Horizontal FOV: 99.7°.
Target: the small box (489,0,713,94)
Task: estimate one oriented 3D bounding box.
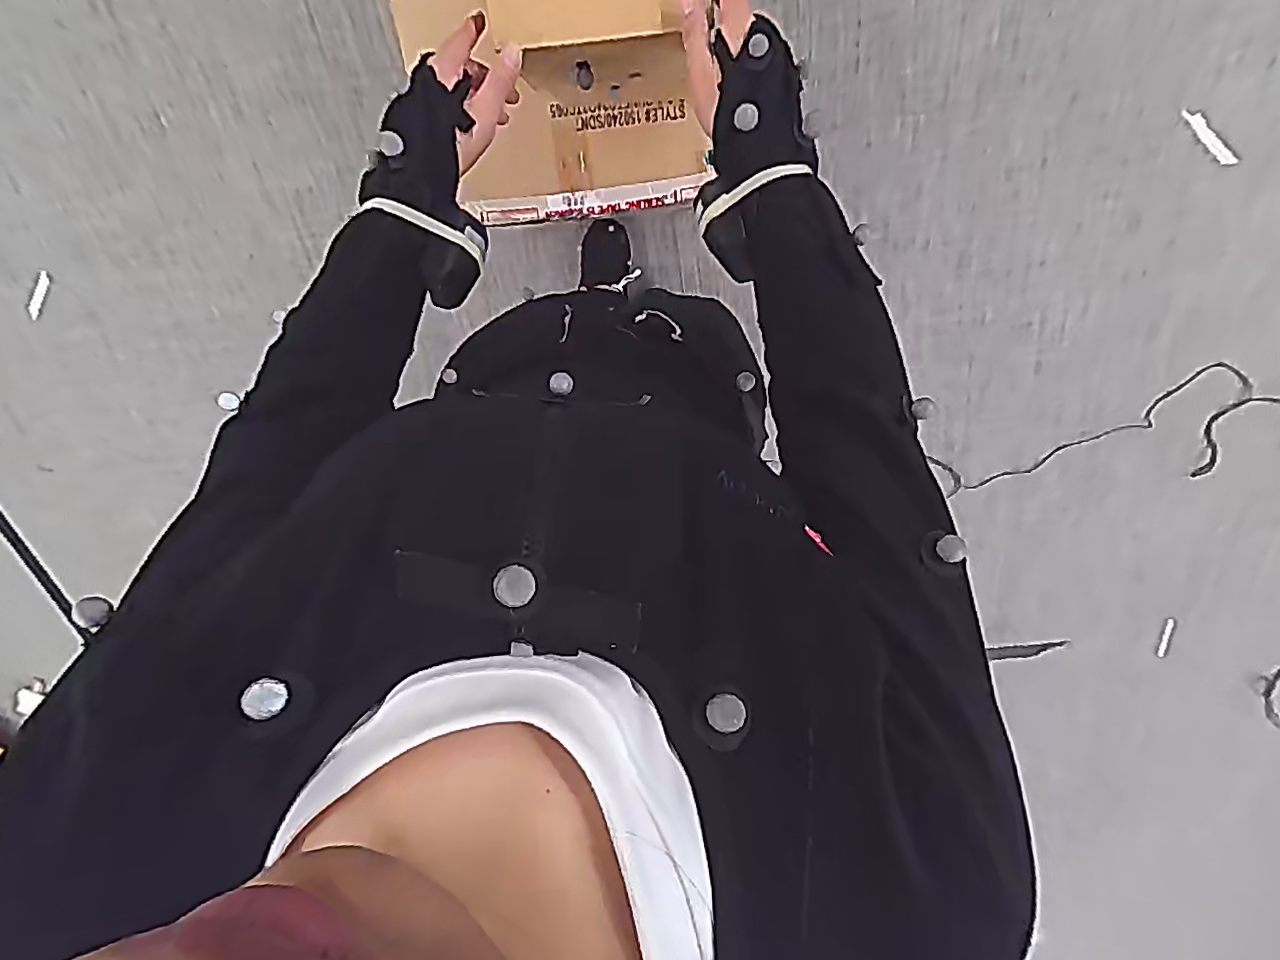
[{"bbox_3d":[-0.030,-0.434,0.437,0.168,0.176,0.179,-4,116,3],"label":"small box"}]

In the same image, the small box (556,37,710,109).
[{"bbox_3d":[-0.018,-0.512,0.579,0.179,0.176,0.168,-2,117,2],"label":"small box"}]
